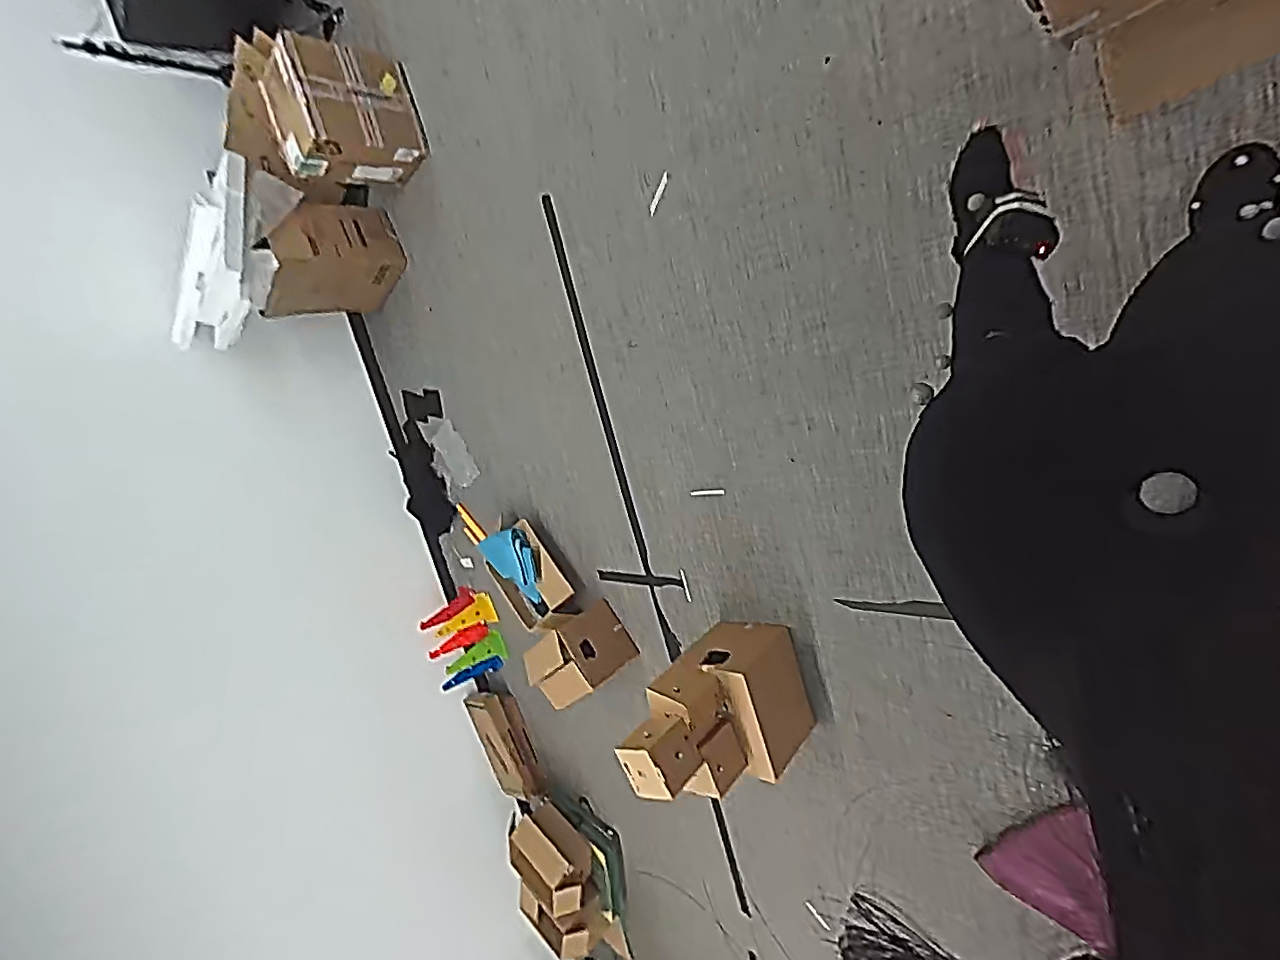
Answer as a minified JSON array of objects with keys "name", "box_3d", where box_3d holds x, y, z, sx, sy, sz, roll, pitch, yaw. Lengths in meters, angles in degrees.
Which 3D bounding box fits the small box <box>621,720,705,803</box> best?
[{"name":"small box","box_3d":[0.079,0.872,1.690,0.179,0.176,0.168,-31,86,45]}]

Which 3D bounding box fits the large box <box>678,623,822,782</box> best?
[{"name":"large box","box_3d":[0.397,0.769,1.930,0.320,0.320,0.408,-13,98,45]}]
